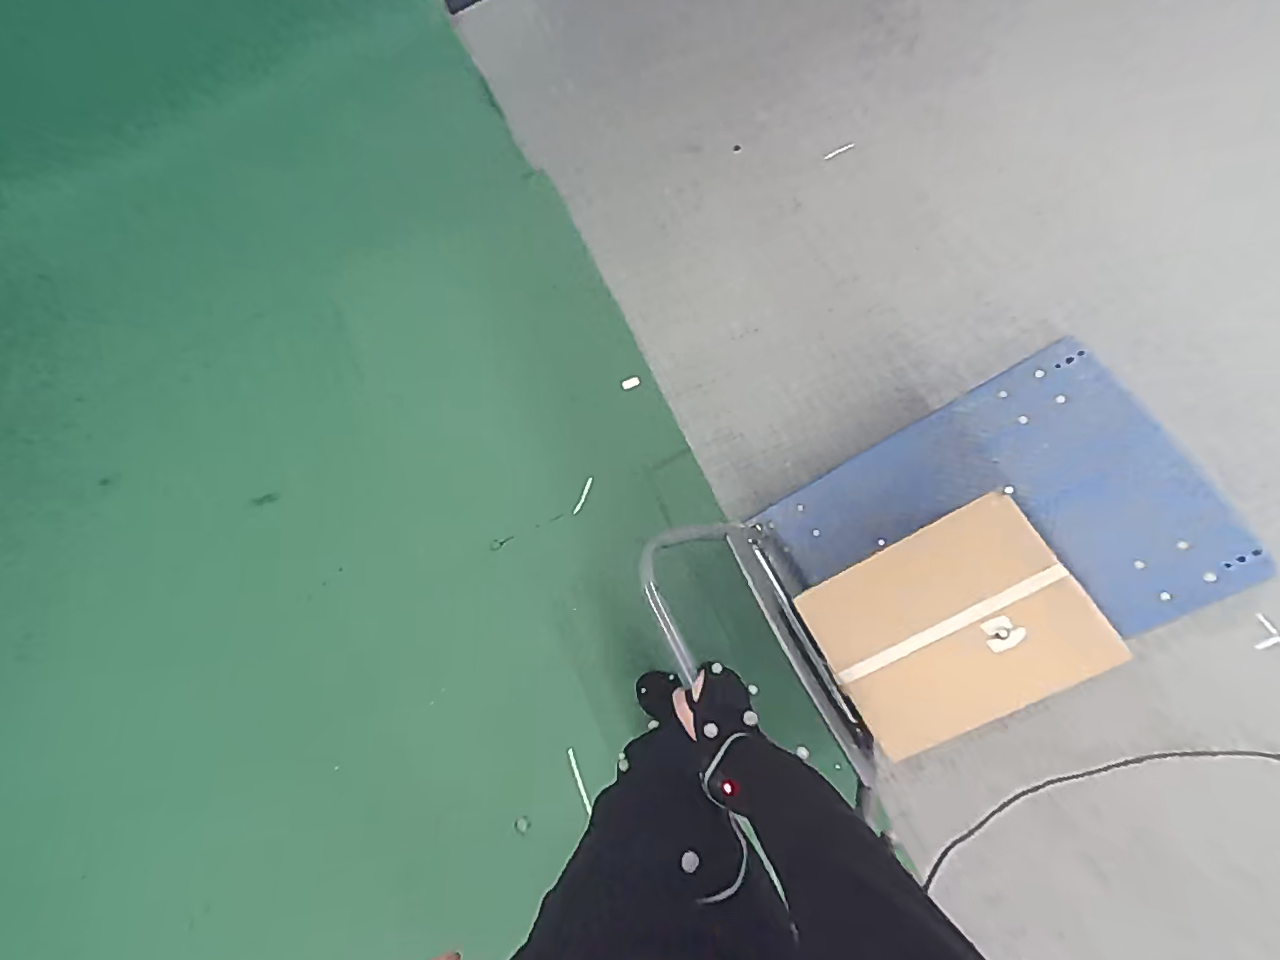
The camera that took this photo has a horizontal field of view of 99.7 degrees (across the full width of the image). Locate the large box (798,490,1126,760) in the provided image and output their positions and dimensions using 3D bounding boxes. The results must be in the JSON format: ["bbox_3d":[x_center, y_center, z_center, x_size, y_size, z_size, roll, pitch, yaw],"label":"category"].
[{"bbox_3d":[0.576,0.271,1.061,0.408,0.320,0.320,-33,72,13],"label":"large box"}]
